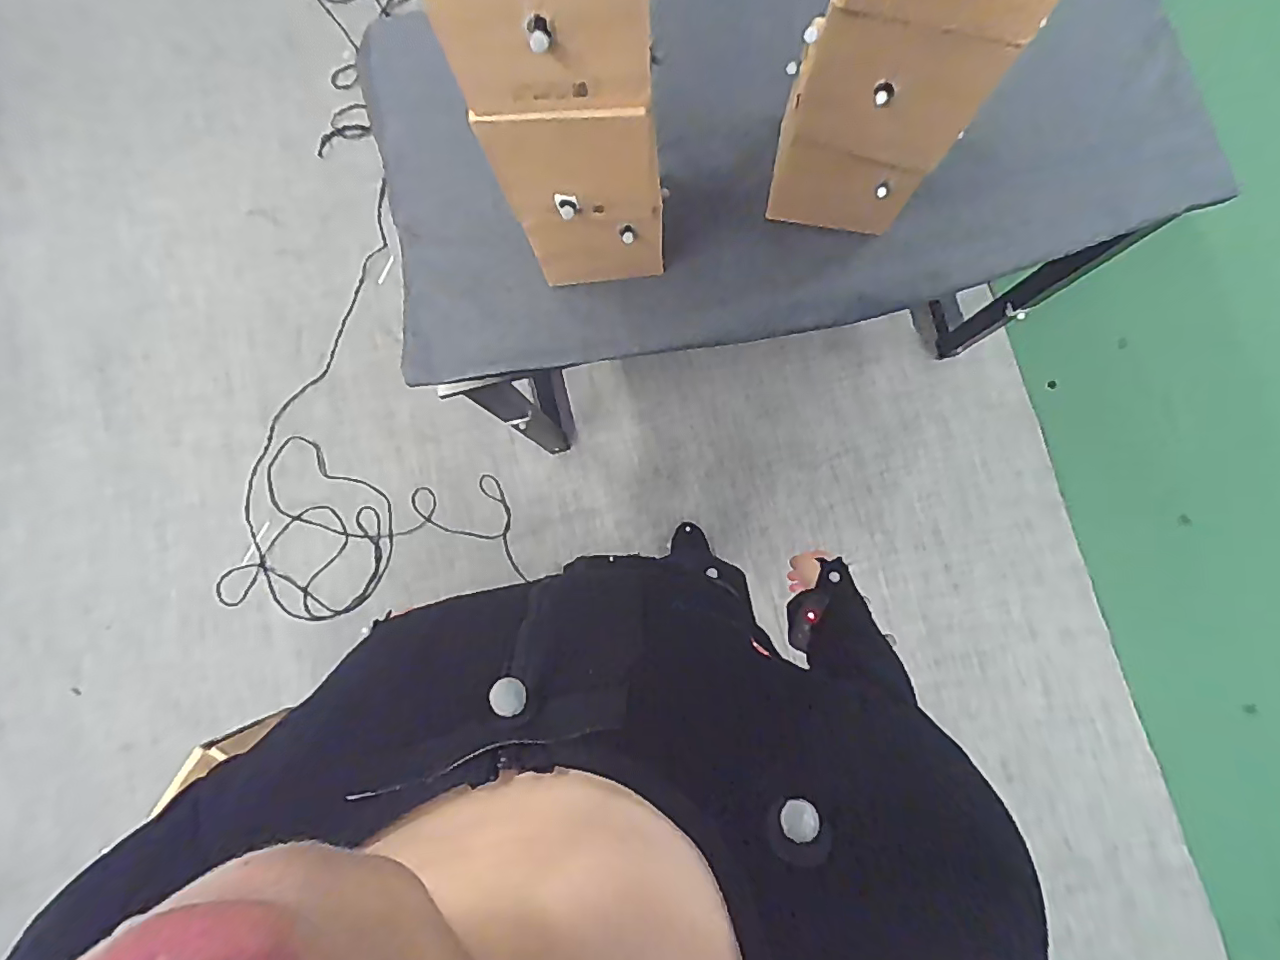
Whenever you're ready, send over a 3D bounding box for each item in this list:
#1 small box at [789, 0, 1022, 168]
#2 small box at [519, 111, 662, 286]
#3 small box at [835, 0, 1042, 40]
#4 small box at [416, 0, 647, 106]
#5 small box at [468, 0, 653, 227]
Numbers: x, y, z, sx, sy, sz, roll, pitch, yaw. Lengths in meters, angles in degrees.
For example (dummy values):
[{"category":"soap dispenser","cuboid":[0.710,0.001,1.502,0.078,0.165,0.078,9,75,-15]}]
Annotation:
[{"category":"small box","cuboid":[0.278,-0.468,0.570,0.179,0.176,0.168,17,84,5]},{"category":"small box","cuboid":[-0.064,-0.388,0.744,0.179,0.176,0.168,-6,83,2]},{"category":"small box","cuboid":[0.267,-0.486,0.408,0.179,0.176,0.168,15,84,4]},{"category":"small box","cuboid":[-0.082,-0.427,0.421,0.168,0.176,0.179,-1,84,4]},{"category":"small box","cuboid":[-0.072,-0.402,0.583,0.168,0.176,0.179,-1,84,4]}]
